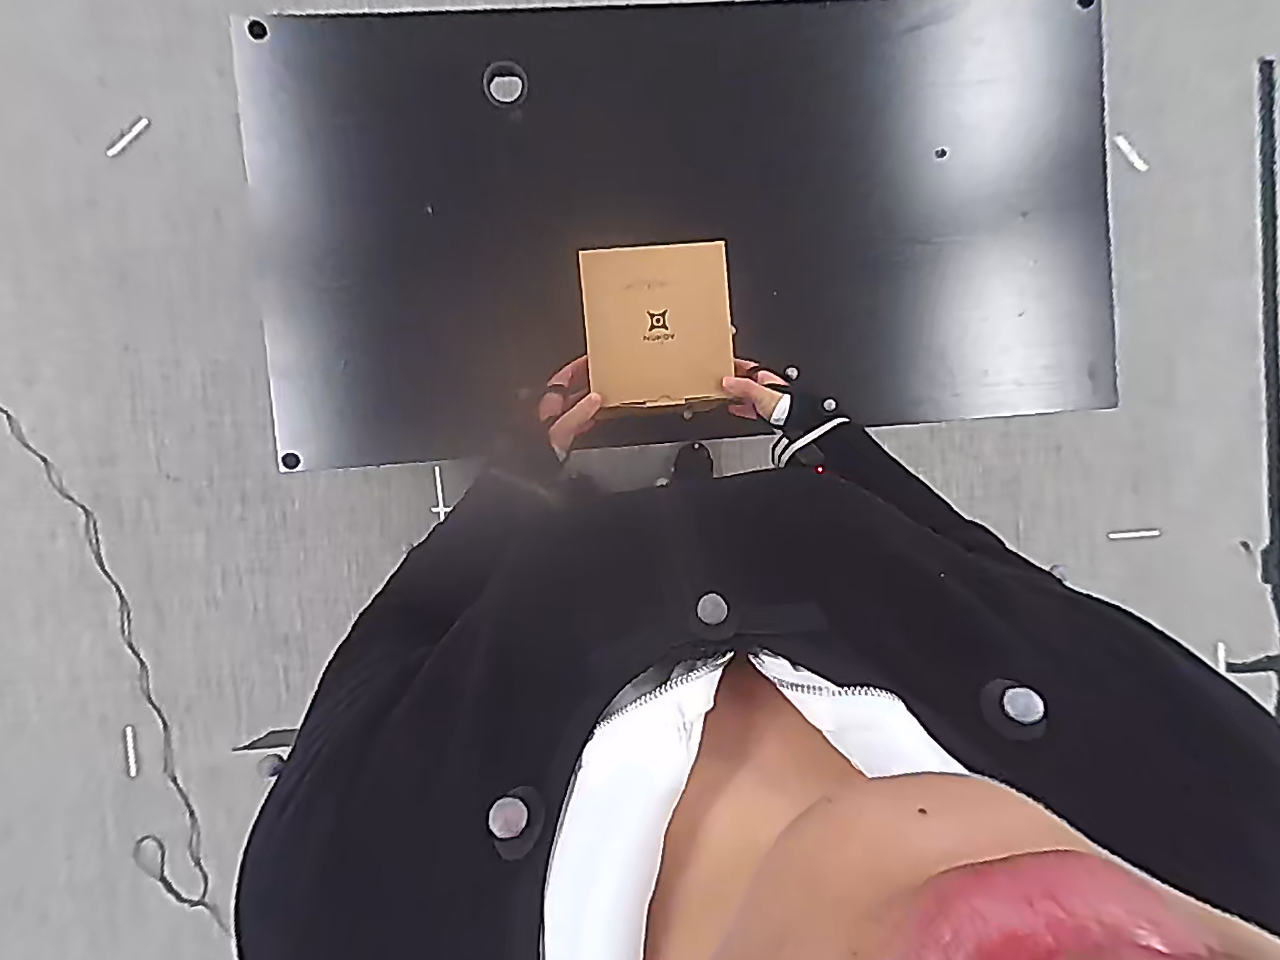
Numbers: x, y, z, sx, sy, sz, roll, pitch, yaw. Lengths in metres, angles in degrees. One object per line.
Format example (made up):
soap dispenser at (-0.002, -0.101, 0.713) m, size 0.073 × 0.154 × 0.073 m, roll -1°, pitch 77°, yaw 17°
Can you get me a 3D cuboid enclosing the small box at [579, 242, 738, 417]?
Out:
small box at (0.017, -0.173, 0.676) m, size 0.168 × 0.176 × 0.179 m, roll -6°, pitch 92°, yaw -4°
